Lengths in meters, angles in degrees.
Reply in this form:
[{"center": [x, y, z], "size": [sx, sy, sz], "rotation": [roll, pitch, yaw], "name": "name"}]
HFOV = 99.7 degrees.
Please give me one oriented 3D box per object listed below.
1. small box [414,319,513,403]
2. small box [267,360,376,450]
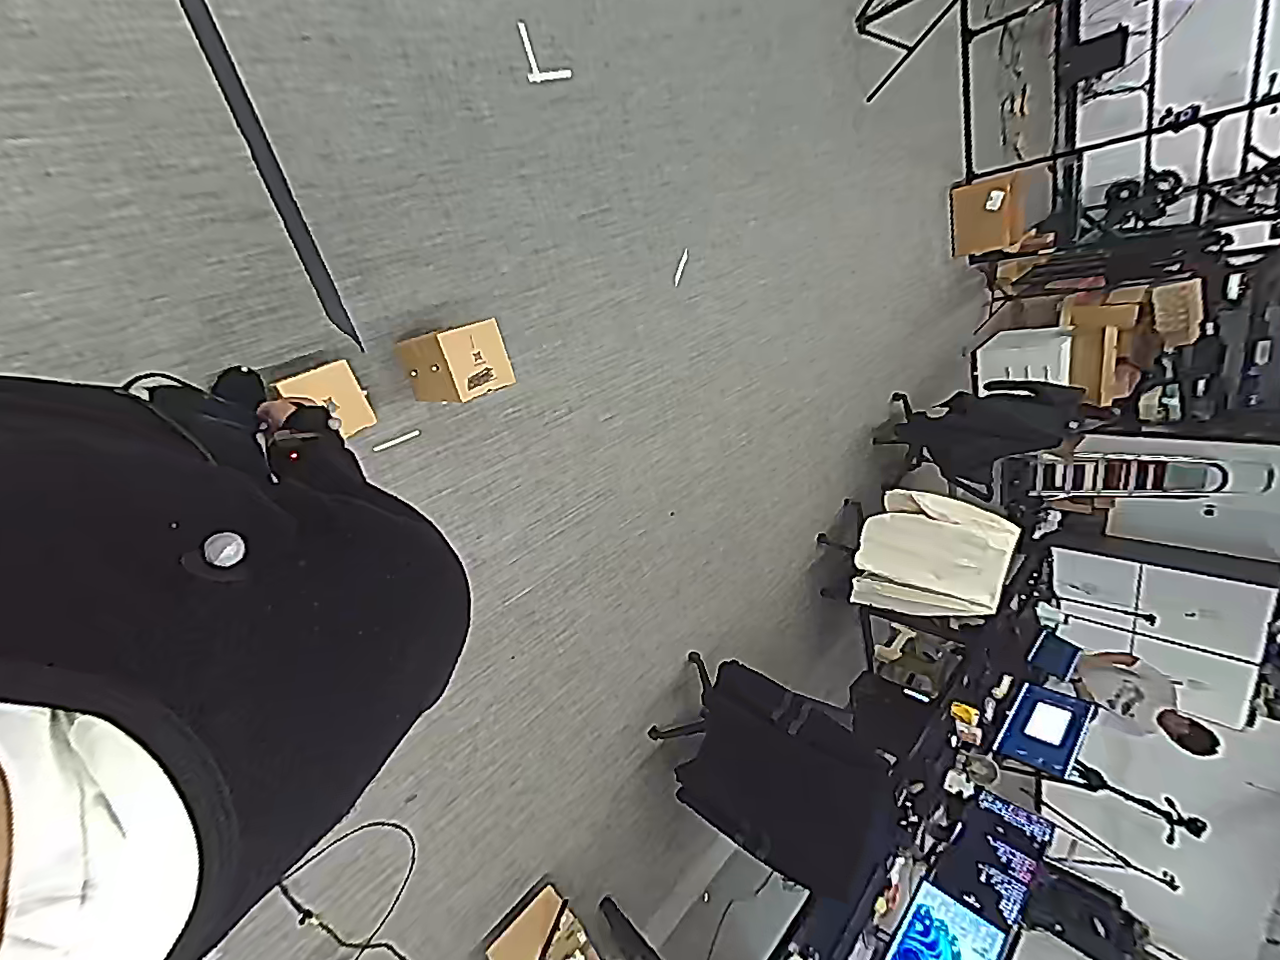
[{"center": [-0.469, -0.315, 1.434], "size": [0.168, 0.176, 0.179], "rotation": [-31, 115, -34], "name": "small box"}, {"center": [-0.814, -0.192, 1.378], "size": [0.168, 0.176, 0.179], "rotation": [-35, 118, -31], "name": "small box"}]
